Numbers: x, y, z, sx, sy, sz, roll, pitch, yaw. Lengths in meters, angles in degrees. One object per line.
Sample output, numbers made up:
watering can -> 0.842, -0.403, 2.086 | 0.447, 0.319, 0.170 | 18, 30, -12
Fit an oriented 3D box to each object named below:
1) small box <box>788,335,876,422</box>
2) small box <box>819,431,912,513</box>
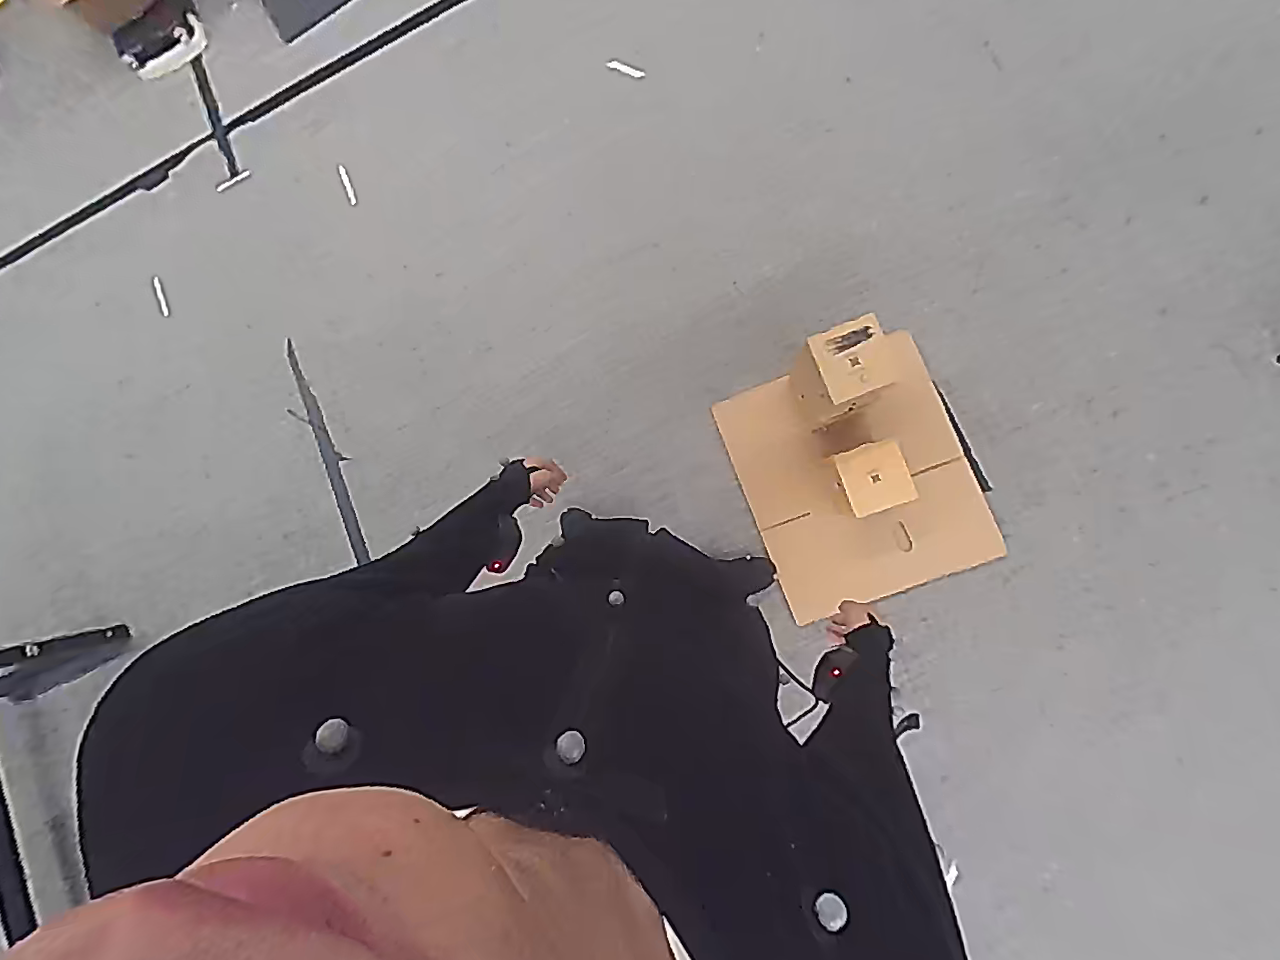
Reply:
small box -> 0.525, -0.271, 1.503 | 0.168, 0.176, 0.179 | -21, 84, 6
small box -> 0.610, -0.020, 1.482 | 0.168, 0.176, 0.179 | -20, 85, 7
